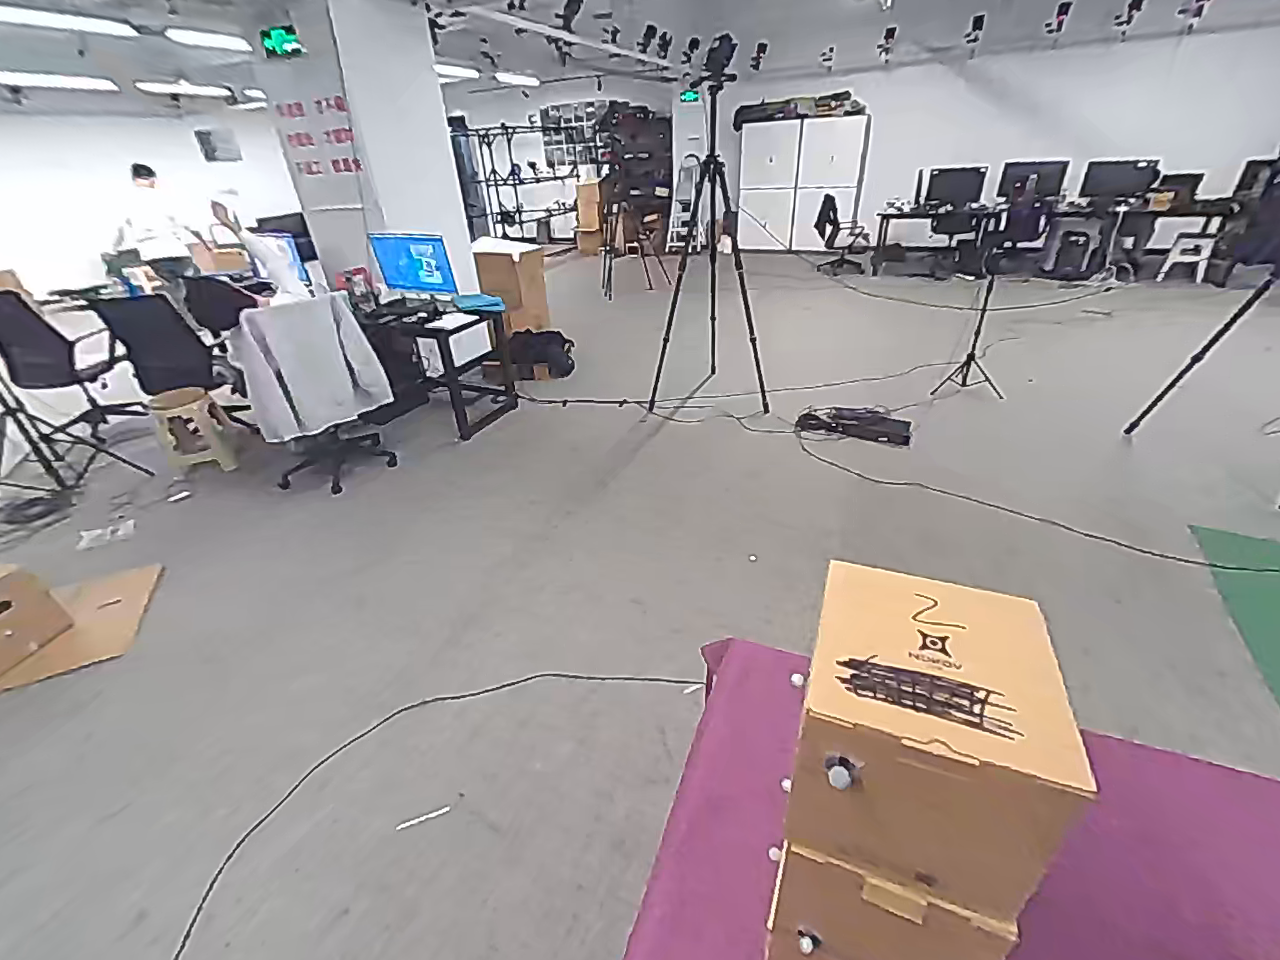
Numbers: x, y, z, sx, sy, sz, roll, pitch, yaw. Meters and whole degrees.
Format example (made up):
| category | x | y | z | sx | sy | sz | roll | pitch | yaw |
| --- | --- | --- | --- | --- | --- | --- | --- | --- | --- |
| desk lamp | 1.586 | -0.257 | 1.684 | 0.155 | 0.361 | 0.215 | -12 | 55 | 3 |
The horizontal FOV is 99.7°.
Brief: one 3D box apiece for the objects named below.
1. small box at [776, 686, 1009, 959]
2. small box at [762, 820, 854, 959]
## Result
| category | x | y | z | sx | sy | sz | roll | pitch | yaw |
| --- | --- | --- | --- | --- | --- | --- | --- | --- | --- |
| small box | 0.232 | 0.344 | 0.525 | 0.168 | 0.176 | 0.179 | 10 | 32 | 22 |
| small box | 0.241 | 0.487 | 0.605 | 0.179 | 0.176 | 0.168 | 11 | 34 | 23 |
